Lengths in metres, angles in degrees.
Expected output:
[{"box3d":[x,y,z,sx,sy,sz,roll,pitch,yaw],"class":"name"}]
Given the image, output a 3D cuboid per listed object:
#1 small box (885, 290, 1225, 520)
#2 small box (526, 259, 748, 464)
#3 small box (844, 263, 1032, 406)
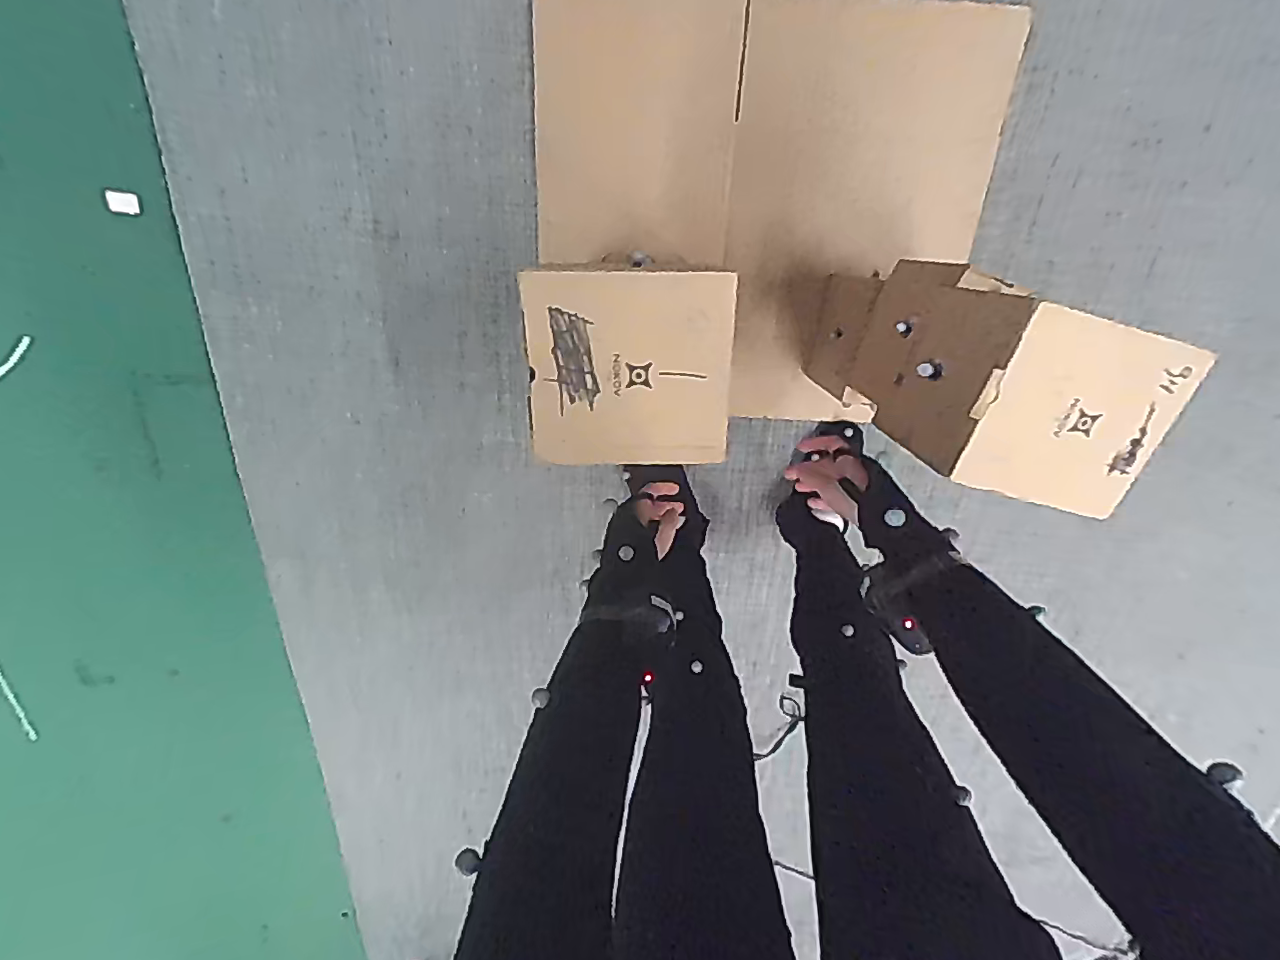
[{"box3d":[0.384,-0.086,0.545,0.179,0.176,0.168,14,112,-7],"class":"small box"},{"box3d":[-0.004,-0.122,0.524,0.179,0.176,0.168,0,113,-1],"class":"small box"},{"box3d":[0.393,-0.161,0.690,0.168,0.176,0.179,22,112,-10],"class":"small box"}]
